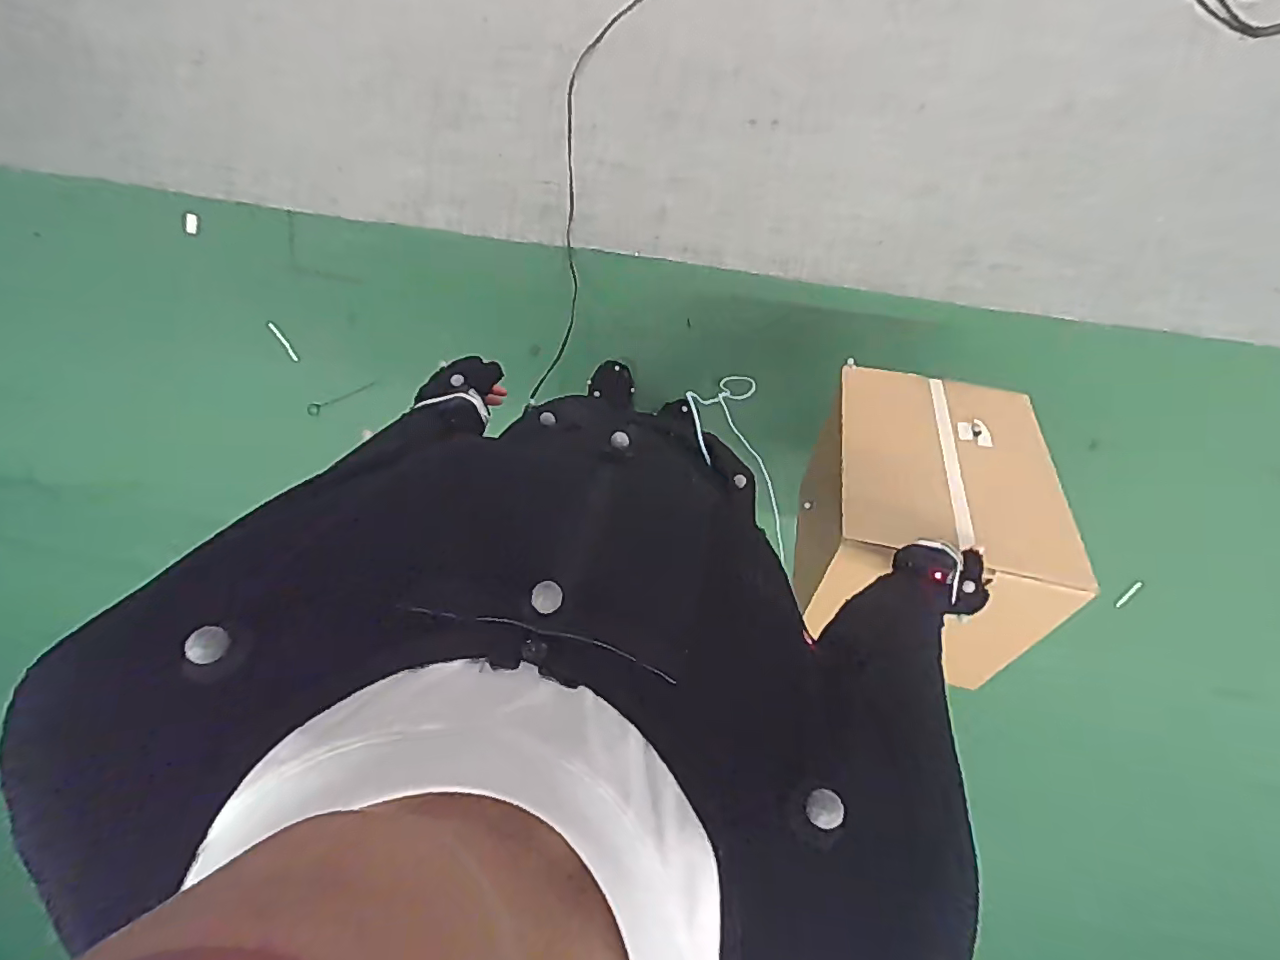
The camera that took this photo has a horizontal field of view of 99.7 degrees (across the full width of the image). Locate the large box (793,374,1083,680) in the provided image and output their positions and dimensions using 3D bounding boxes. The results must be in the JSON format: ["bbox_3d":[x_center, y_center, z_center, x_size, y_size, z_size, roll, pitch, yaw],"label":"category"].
[{"bbox_3d":[0.460,0.073,0.948,0.320,0.408,0.320,12,137,8],"label":"large box"}]
